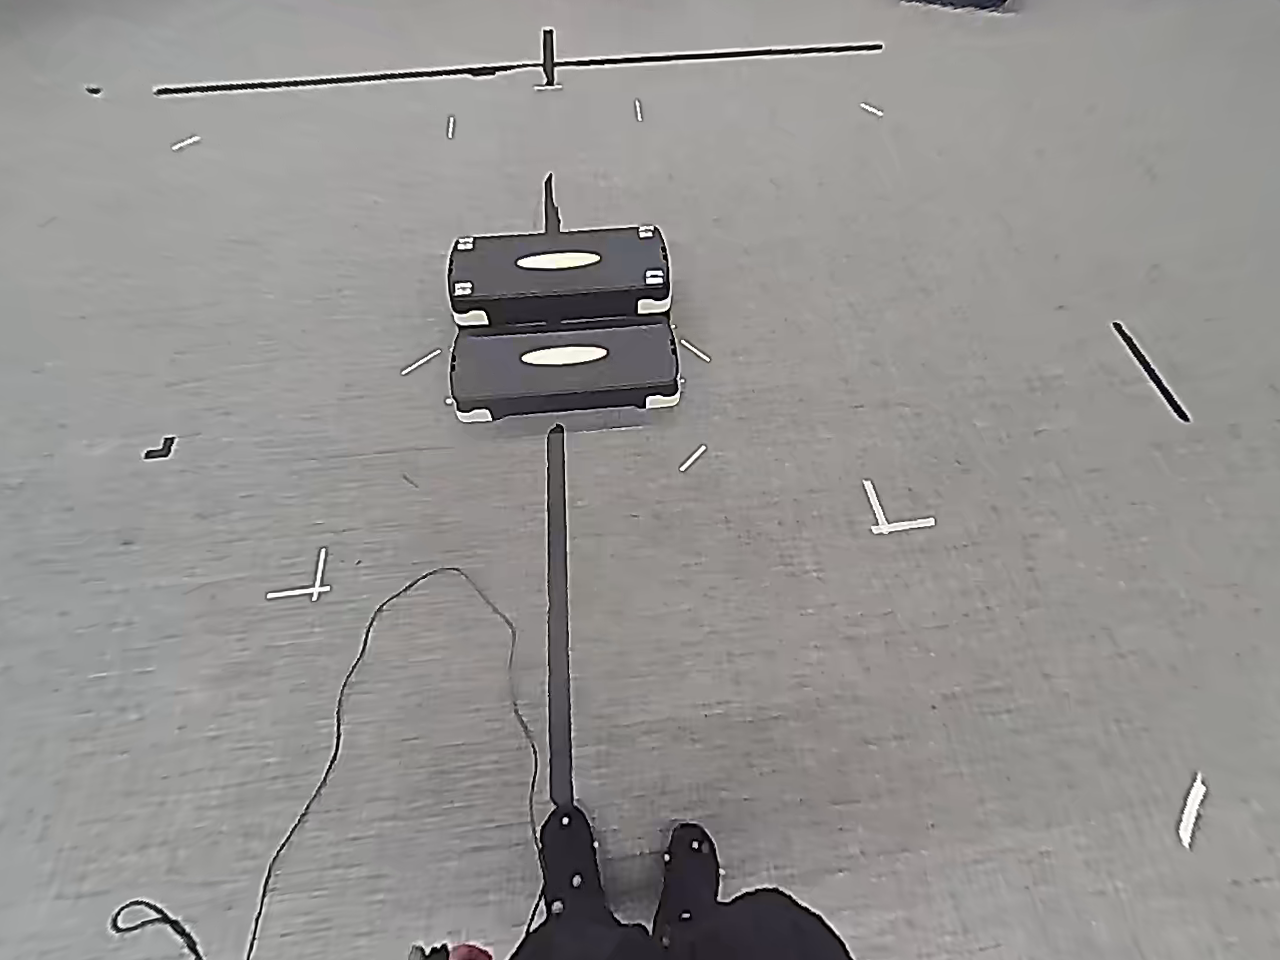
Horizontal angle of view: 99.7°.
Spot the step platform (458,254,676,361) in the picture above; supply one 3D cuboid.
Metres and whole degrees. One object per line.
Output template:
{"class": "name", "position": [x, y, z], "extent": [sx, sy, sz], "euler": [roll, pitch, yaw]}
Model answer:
{"class": "step platform", "position": [-0.225, -0.561, 1.739], "extent": [0.684, 0.204, 0.286], "euler": [-1, 60, -1]}
